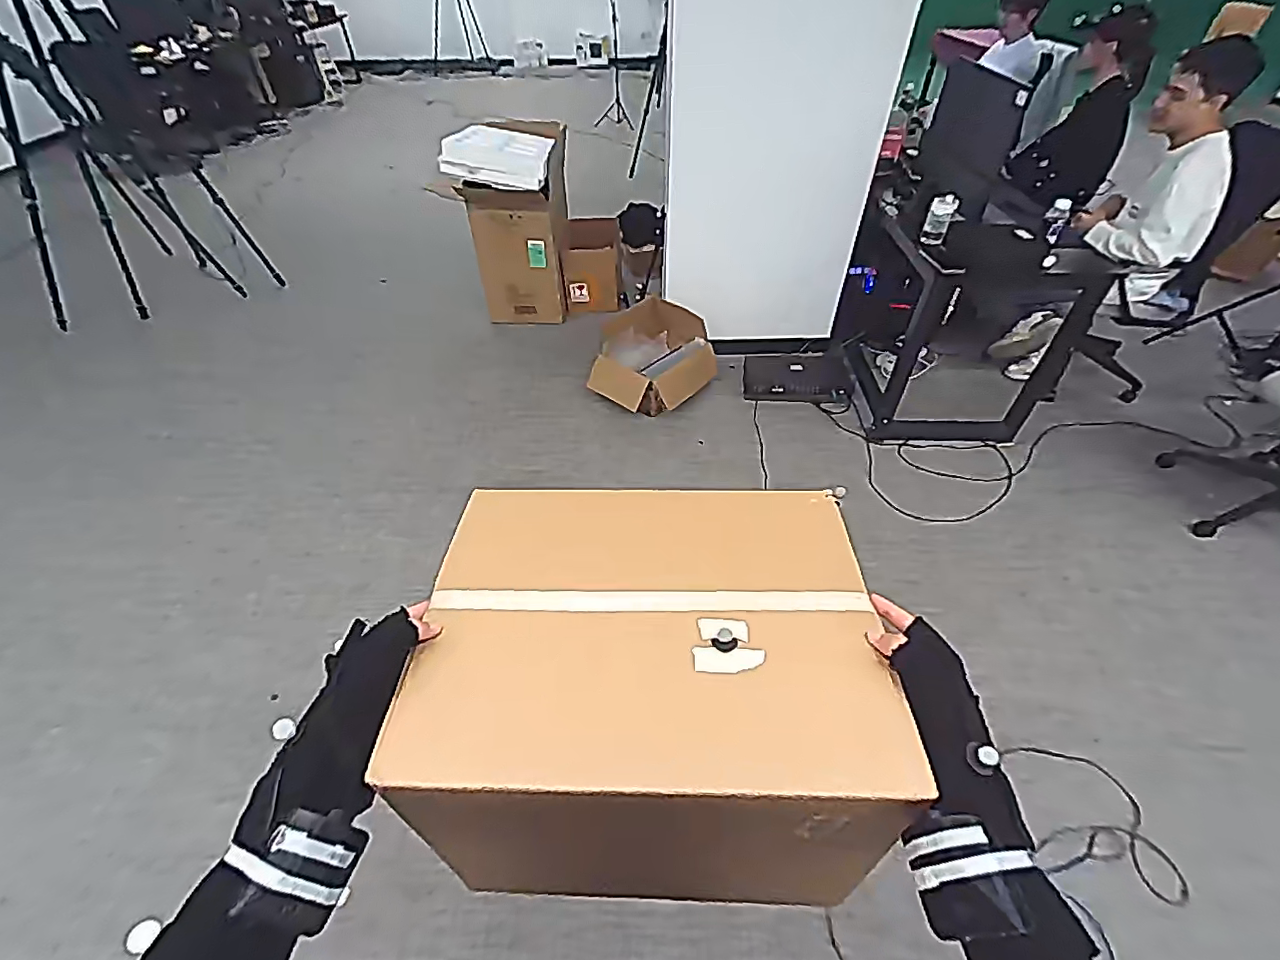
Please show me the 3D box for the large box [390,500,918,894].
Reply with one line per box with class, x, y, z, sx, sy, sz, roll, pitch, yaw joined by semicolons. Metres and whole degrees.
large box;0.013;0.236;0.608;0.408;0.320;0.320;1;41;2
